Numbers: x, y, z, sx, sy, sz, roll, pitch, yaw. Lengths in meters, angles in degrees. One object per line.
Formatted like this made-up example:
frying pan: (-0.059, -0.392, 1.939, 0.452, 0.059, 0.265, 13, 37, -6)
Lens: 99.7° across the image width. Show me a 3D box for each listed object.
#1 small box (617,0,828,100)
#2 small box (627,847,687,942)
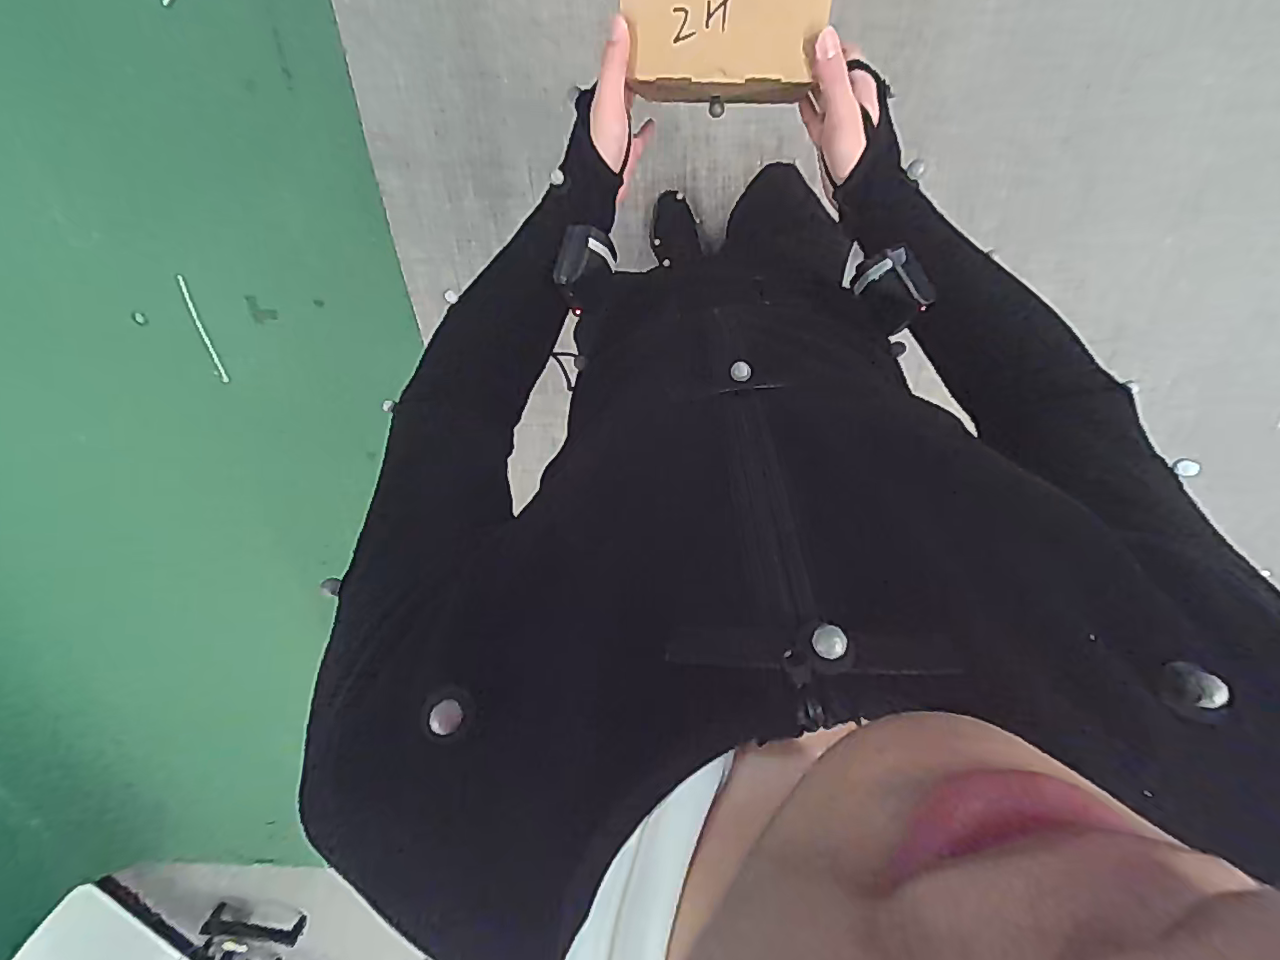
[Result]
small box: (0.076, -0.450, 0.470, 0.168, 0.176, 0.179, 6, 120, 7)
small box: (0.052, 1.203, 1.572, 0.168, 0.176, 0.179, -1, 120, 3)
